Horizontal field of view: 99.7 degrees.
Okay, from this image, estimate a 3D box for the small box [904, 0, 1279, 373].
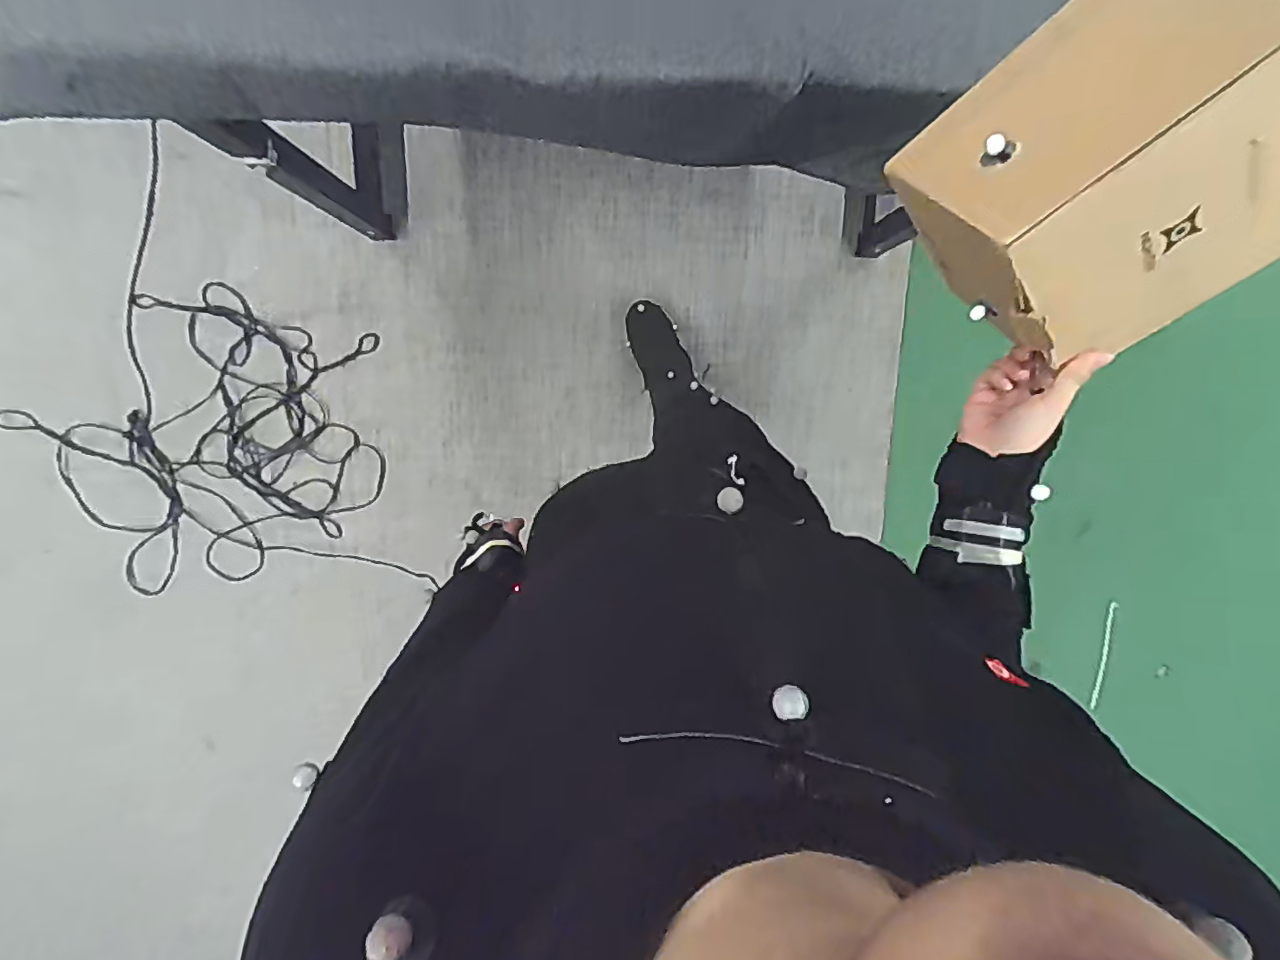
[{"bbox_3d":[0.327,-0.222,0.399,0.179,0.176,0.168,-39,131,25],"label":"small box"}]
